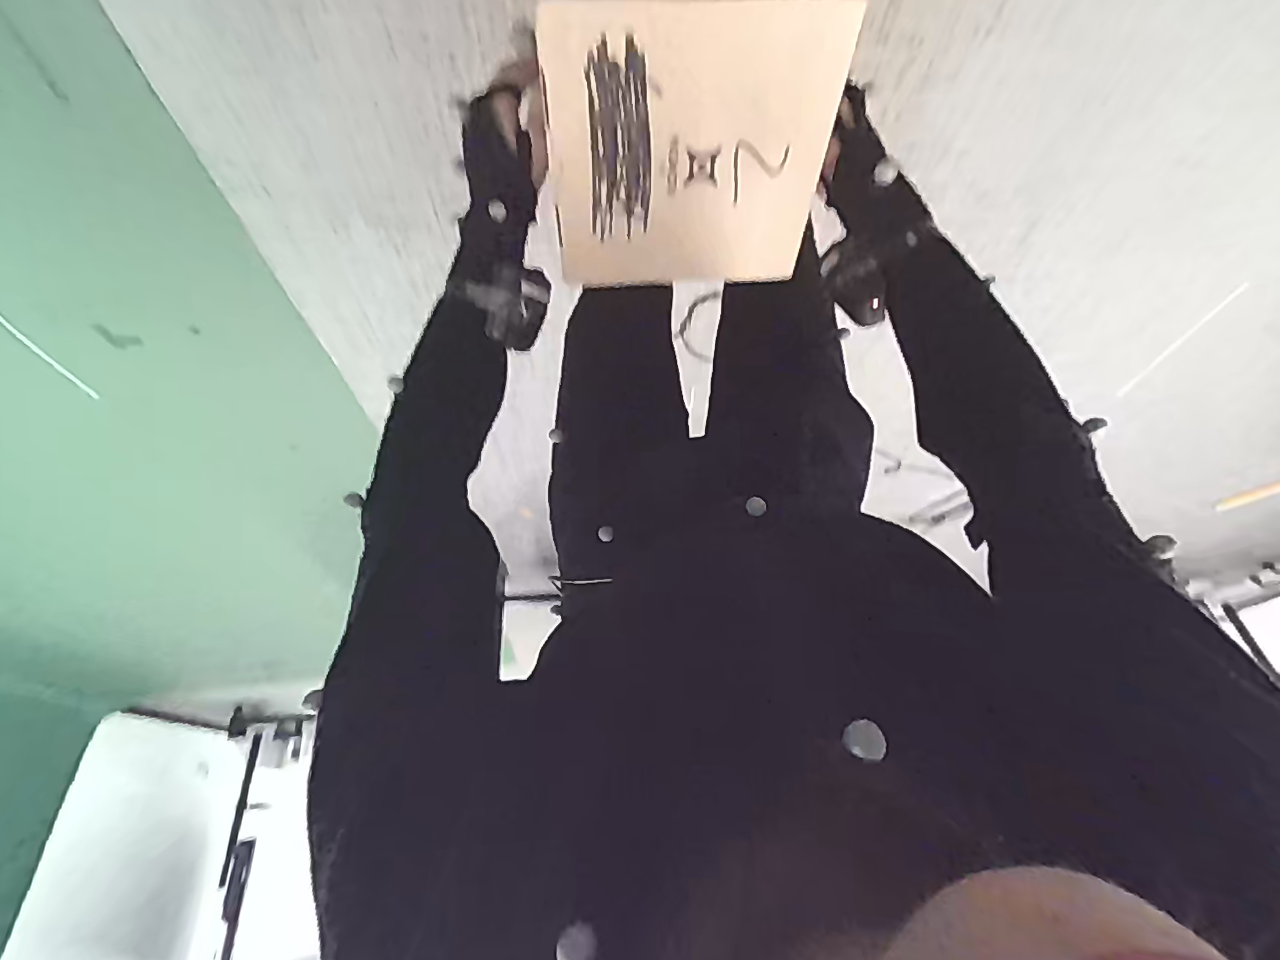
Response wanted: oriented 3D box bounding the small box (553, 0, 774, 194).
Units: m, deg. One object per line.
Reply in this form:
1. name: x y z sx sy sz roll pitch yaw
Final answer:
1. small box: 0.007 -0.388 0.484 0.168 0.176 0.179 -2 144 -7
